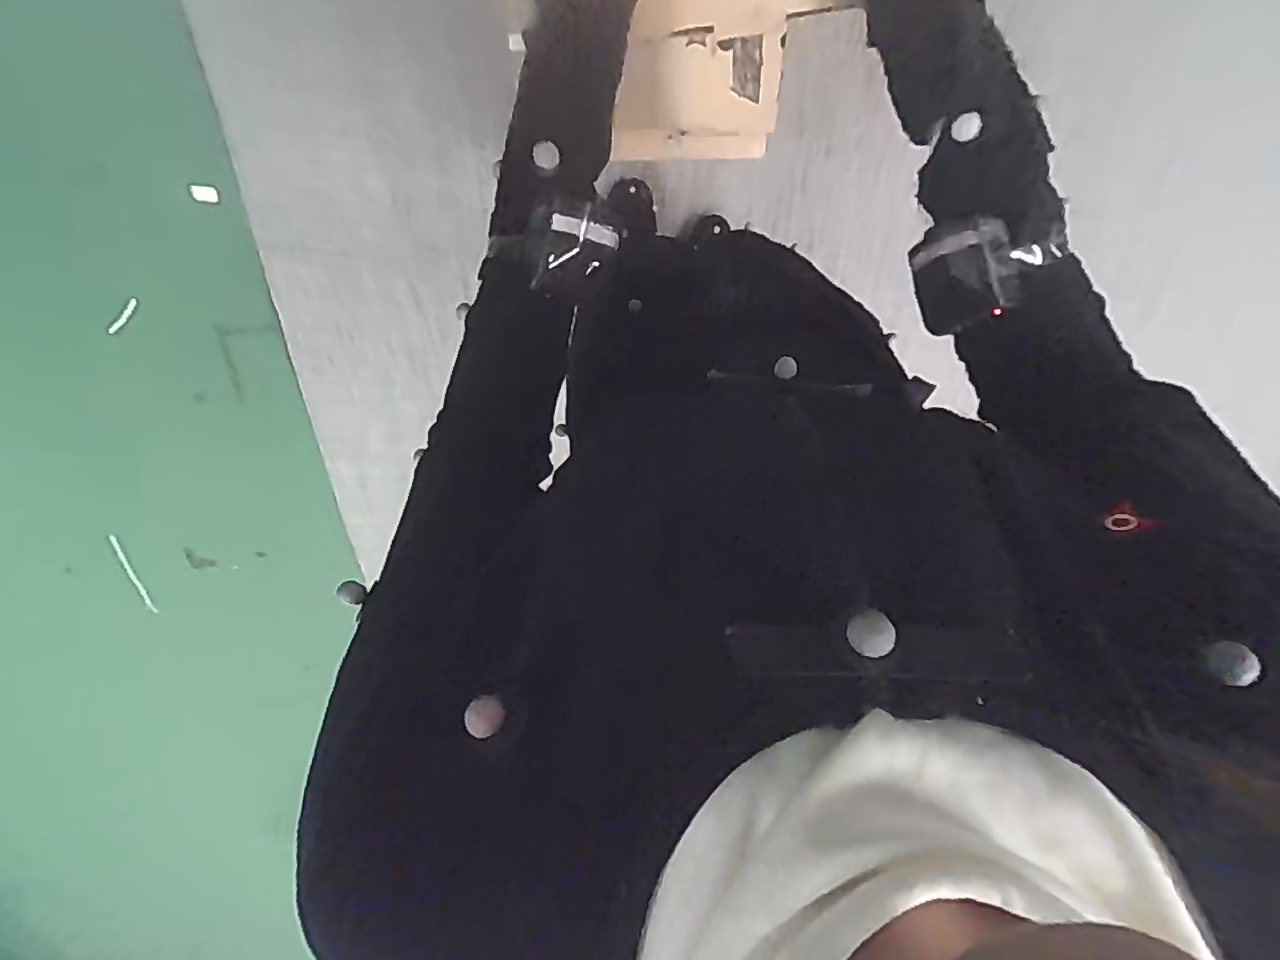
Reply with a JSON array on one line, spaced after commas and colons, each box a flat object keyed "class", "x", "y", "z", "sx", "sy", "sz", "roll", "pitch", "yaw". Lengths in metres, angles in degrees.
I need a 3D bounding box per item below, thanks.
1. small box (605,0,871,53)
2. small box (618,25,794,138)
[{"class": "small box", "x": 0.051, "y": -0.398, "z": 0.337, "sx": 0.168, "sy": 0.176, "sz": 0.179, "roll": -7, "pitch": 133, "yaw": 4}, {"class": "small box", "x": 0.066, "y": -0.496, "z": 0.624, "sx": 0.179, "sy": 0.176, "sz": 0.168, "roll": -2, "pitch": 124, "yaw": -3}]
